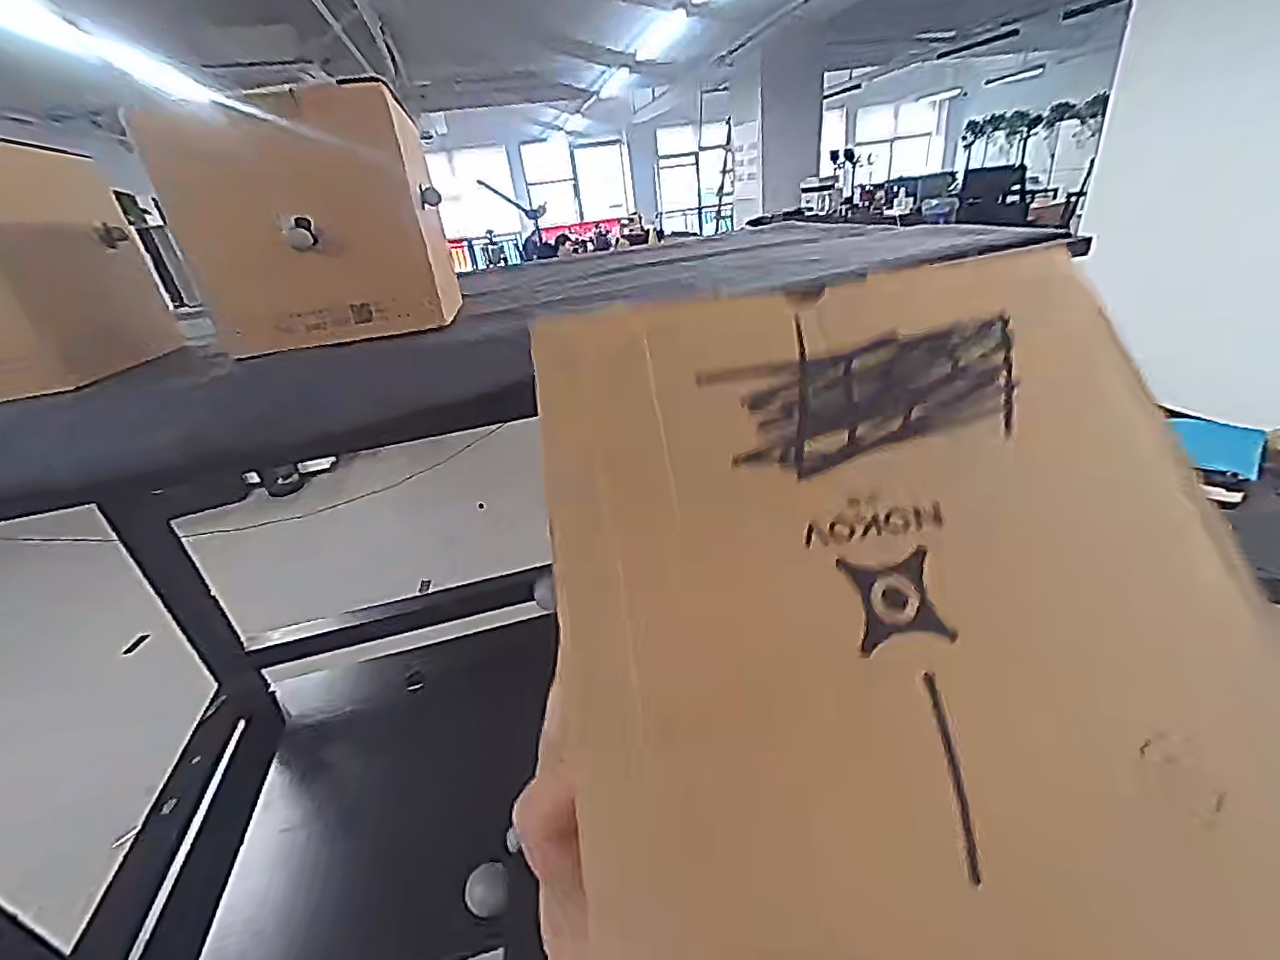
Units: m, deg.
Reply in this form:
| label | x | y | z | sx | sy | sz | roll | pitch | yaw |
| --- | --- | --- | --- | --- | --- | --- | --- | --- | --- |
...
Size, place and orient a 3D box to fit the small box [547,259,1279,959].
| label | x | y | z | sx | sy | sz | roll | pitch | yaw |
| --- | --- | --- | --- | --- | --- | --- | --- | --- | --- |
| small box | 0.063 | 0.048 | 0.213 | 0.168 | 0.176 | 0.179 | -9 | 70 | -2 |

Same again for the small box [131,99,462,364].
| label | x | y | z | sx | sy | sz | roll | pitch | yaw |
| --- | --- | --- | --- | --- | --- | --- | --- | --- | --- |
| small box | -0.260 | -0.205 | 0.468 | 0.168 | 0.176 | 0.179 | -12 | 26 | -10 |
